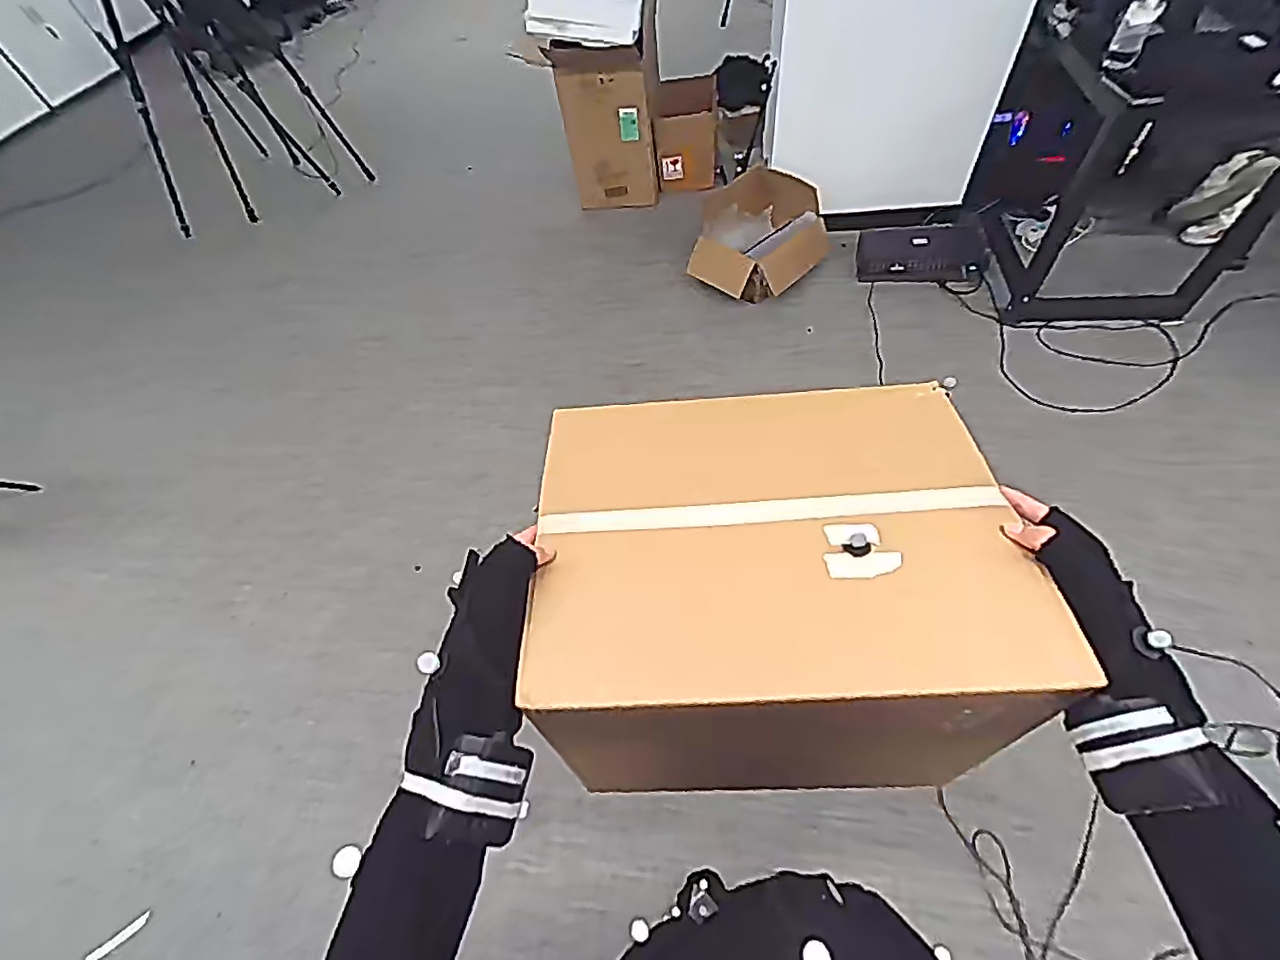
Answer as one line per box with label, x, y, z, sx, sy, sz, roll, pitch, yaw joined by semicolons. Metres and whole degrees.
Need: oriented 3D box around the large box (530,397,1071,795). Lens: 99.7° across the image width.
large box;0.121;0.138;0.602;0.408;0.320;0.320;-4;50;3
